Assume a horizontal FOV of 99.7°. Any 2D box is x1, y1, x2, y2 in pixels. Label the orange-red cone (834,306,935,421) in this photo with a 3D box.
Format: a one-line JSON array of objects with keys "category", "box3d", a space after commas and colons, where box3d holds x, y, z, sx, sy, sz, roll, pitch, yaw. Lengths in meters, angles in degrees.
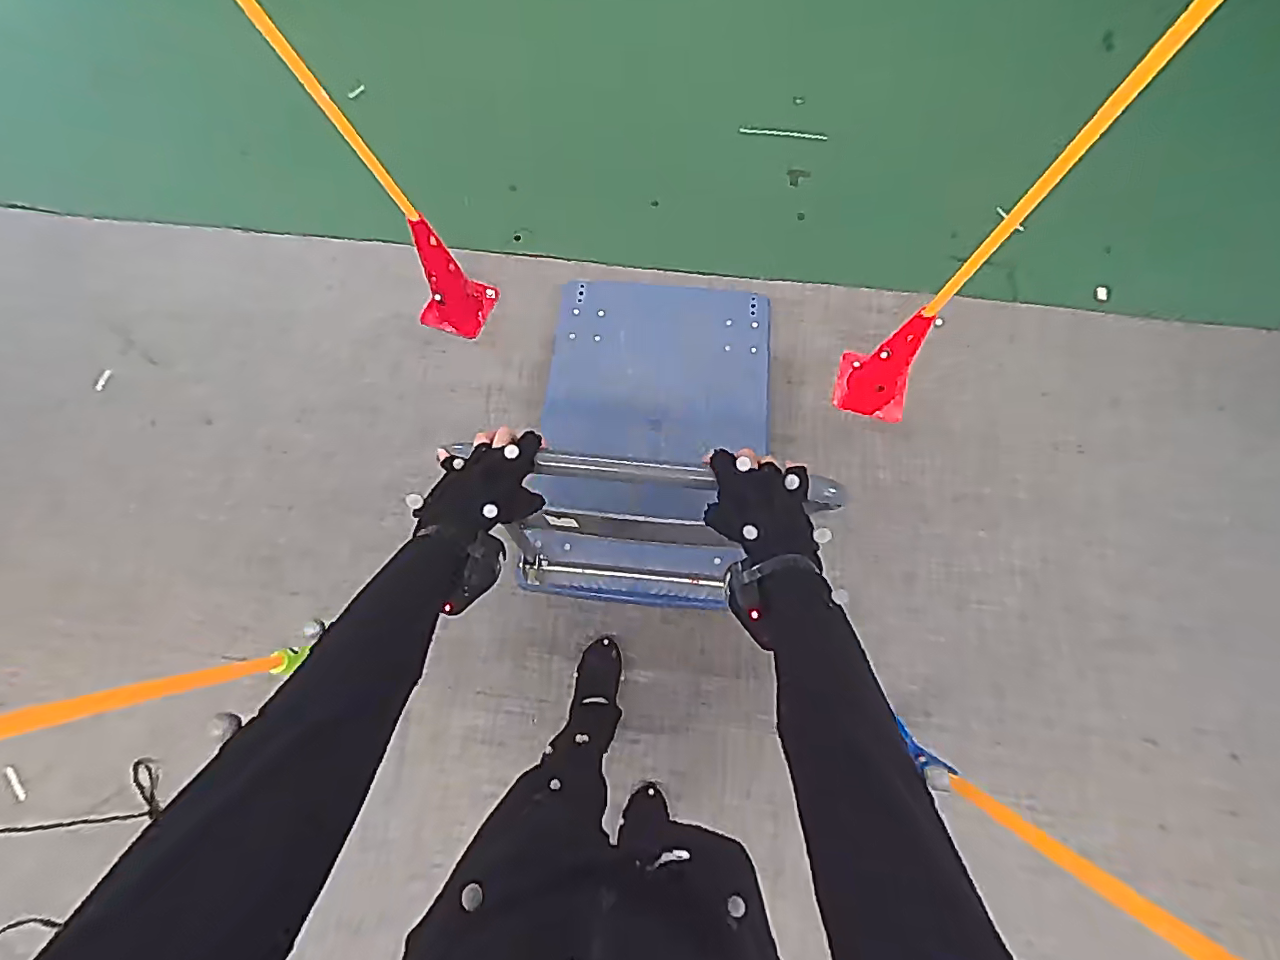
[{"category": "orange-red cone", "box3d": [0.683, -0.336, 1.440, 0.198, 0.360, 0.199, 17, 72, 7]}]
